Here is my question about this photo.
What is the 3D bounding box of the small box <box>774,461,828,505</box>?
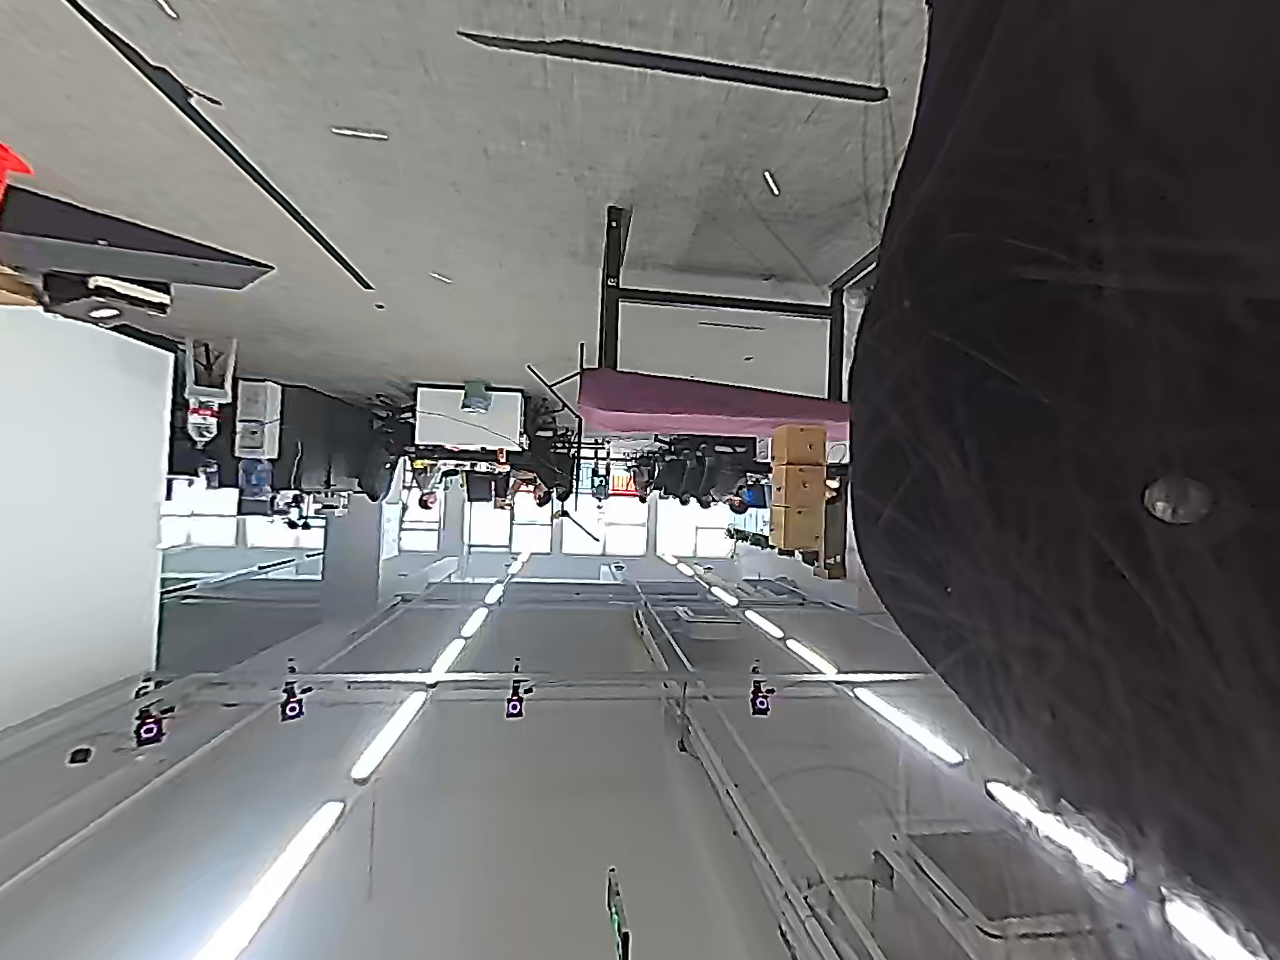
[{"bbox_3d":[0.647,0.012,2.185,0.168,0.176,0.179,2,179,-2],"label":"small box"}]

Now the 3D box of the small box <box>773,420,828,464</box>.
[{"bbox_3d":[0.654,-0.151,2.210,0.168,0.176,0.179,2,179,-7],"label":"small box"}]
